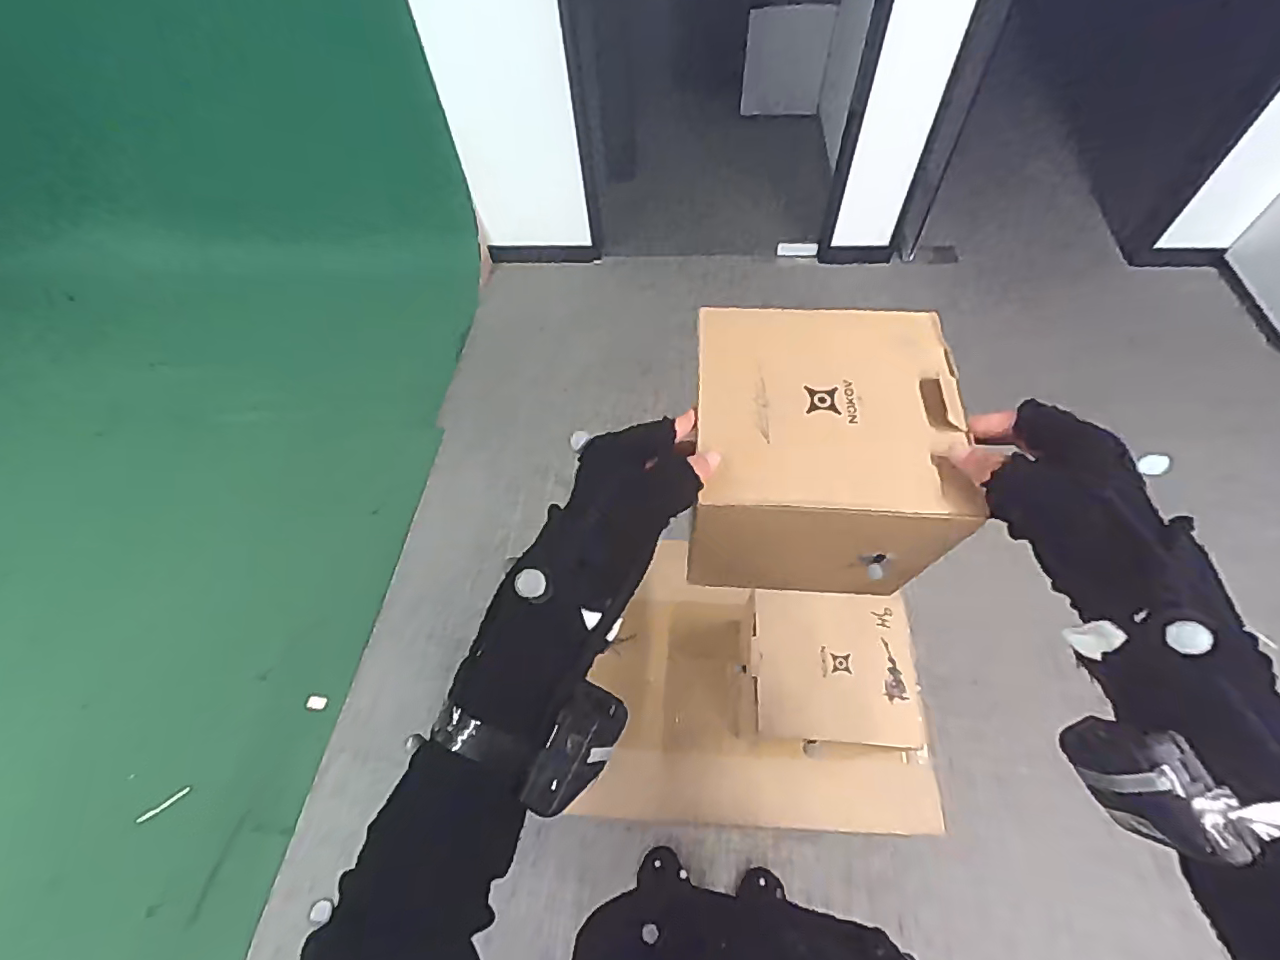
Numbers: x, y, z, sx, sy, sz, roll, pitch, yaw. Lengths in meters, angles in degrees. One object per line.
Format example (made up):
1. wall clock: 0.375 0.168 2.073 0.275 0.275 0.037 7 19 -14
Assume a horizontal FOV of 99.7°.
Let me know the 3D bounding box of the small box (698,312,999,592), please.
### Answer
1. small box: 0.139 -0.014 0.438 0.179 0.176 0.168 1 61 4

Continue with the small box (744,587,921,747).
1. small box: 0.225 0.239 0.686 0.179 0.176 0.168 3 62 6
